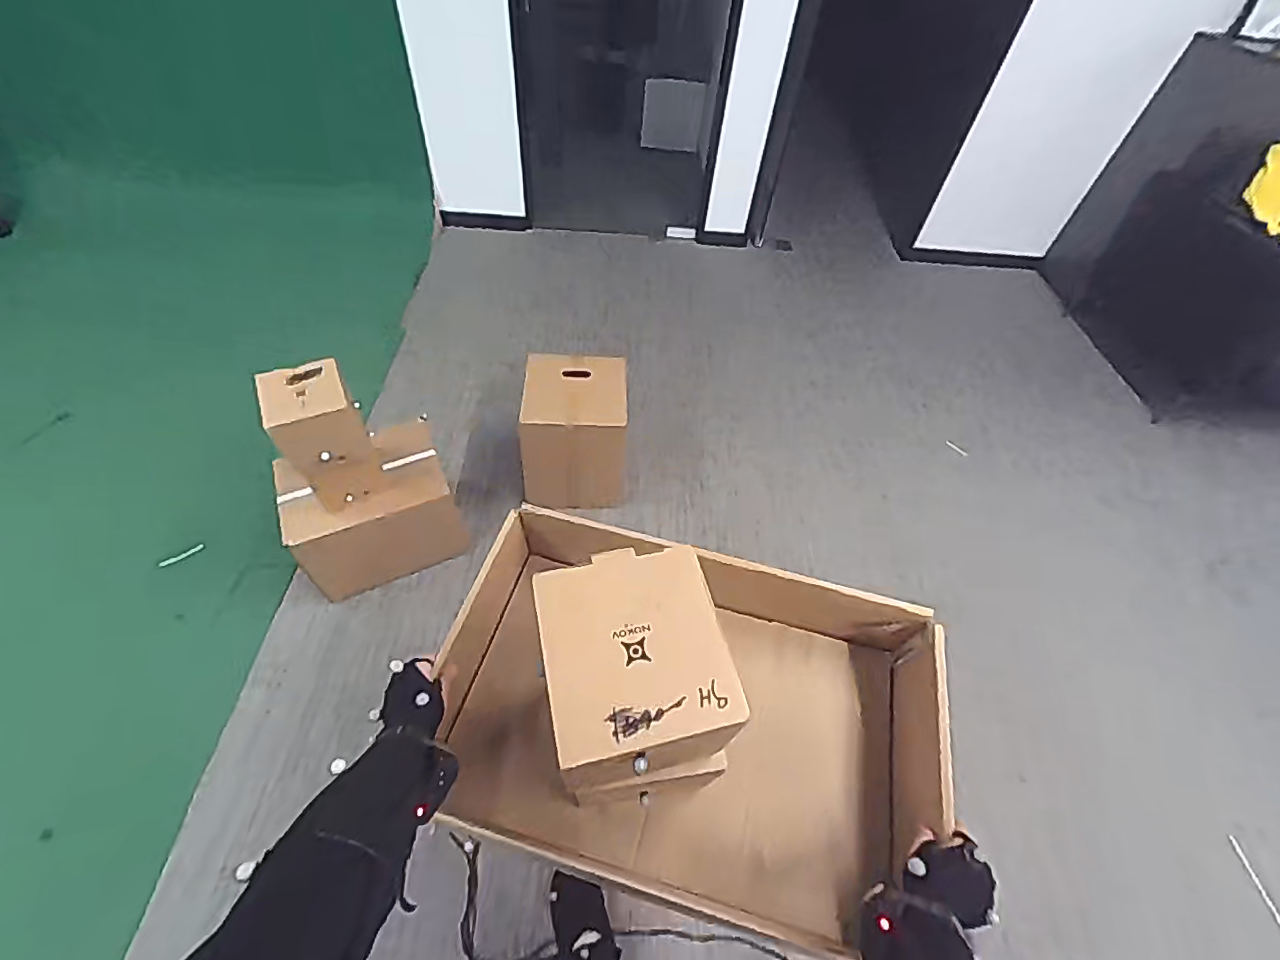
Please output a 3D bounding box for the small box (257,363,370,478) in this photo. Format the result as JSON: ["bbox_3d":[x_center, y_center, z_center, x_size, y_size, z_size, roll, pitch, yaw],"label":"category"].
[{"bbox_3d":[-0.748,-0.135,1.247,0.168,0.176,0.179,-21,57,-19],"label":"small box"}]

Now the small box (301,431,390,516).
[{"bbox_3d":[-0.766,-0.042,1.381,0.168,0.176,0.179,-25,58,-22],"label":"small box"}]

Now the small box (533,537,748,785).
[{"bbox_3d":[-0.011,0.185,0.551,0.168,0.176,0.179,-10,55,-10],"label":"small box"}]

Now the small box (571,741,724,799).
[{"bbox_3d":[-0.005,0.288,0.679,0.168,0.176,0.179,-5,54,-8],"label":"small box"}]
